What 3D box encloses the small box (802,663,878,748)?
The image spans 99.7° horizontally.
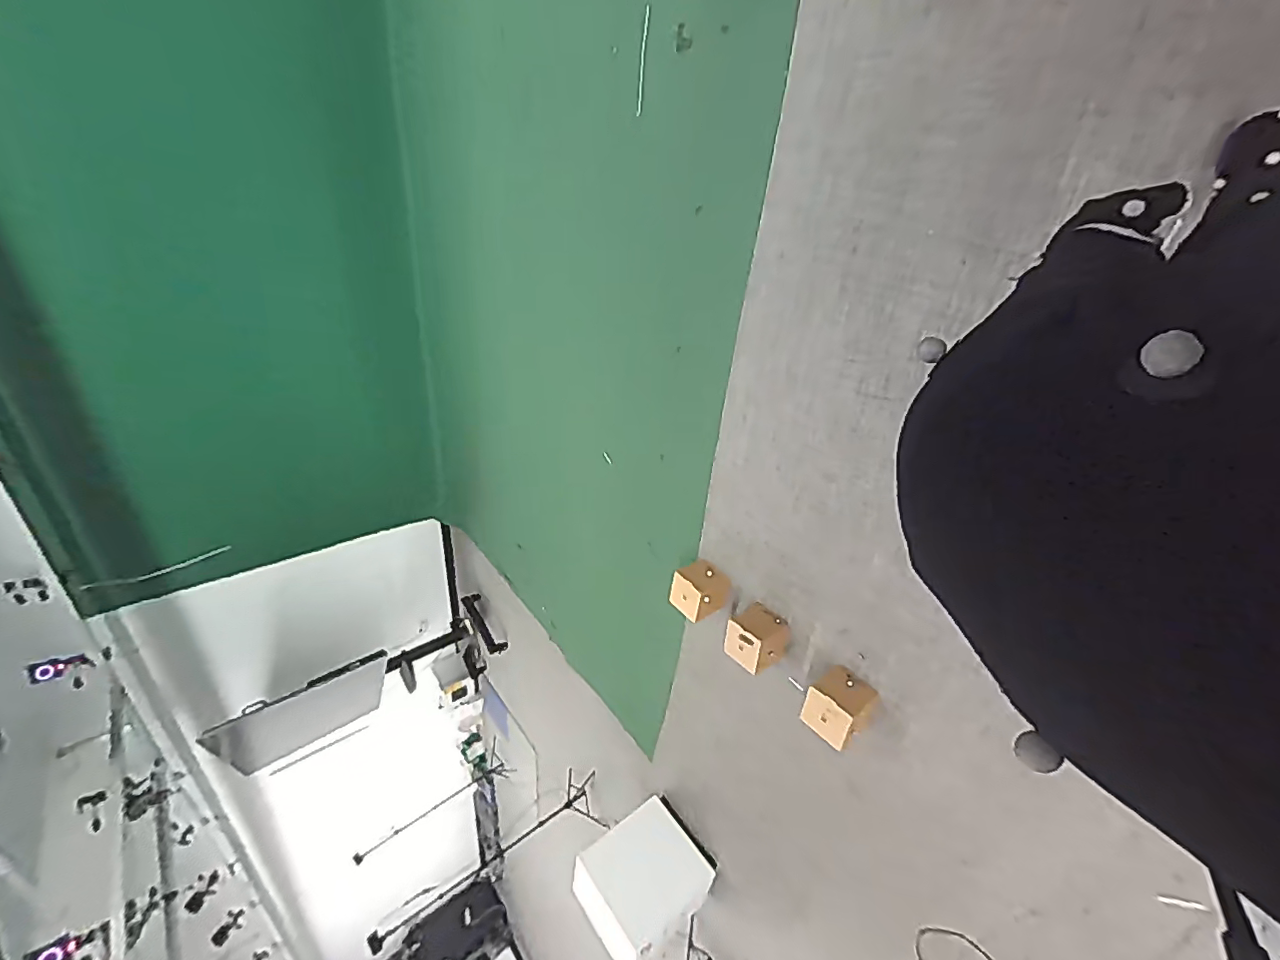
[{"bbox_3d":[0.690,0.772,1.865,0.168,0.176,0.179,32,128,40],"label":"small box"}]

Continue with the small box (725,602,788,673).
[{"bbox_3d":[0.456,0.607,2.107,0.168,0.176,0.179,31,128,43],"label":"small box"}]

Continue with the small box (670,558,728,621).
[{"bbox_3d":[0.254,0.464,2.316,0.168,0.176,0.179,36,130,39],"label":"small box"}]
